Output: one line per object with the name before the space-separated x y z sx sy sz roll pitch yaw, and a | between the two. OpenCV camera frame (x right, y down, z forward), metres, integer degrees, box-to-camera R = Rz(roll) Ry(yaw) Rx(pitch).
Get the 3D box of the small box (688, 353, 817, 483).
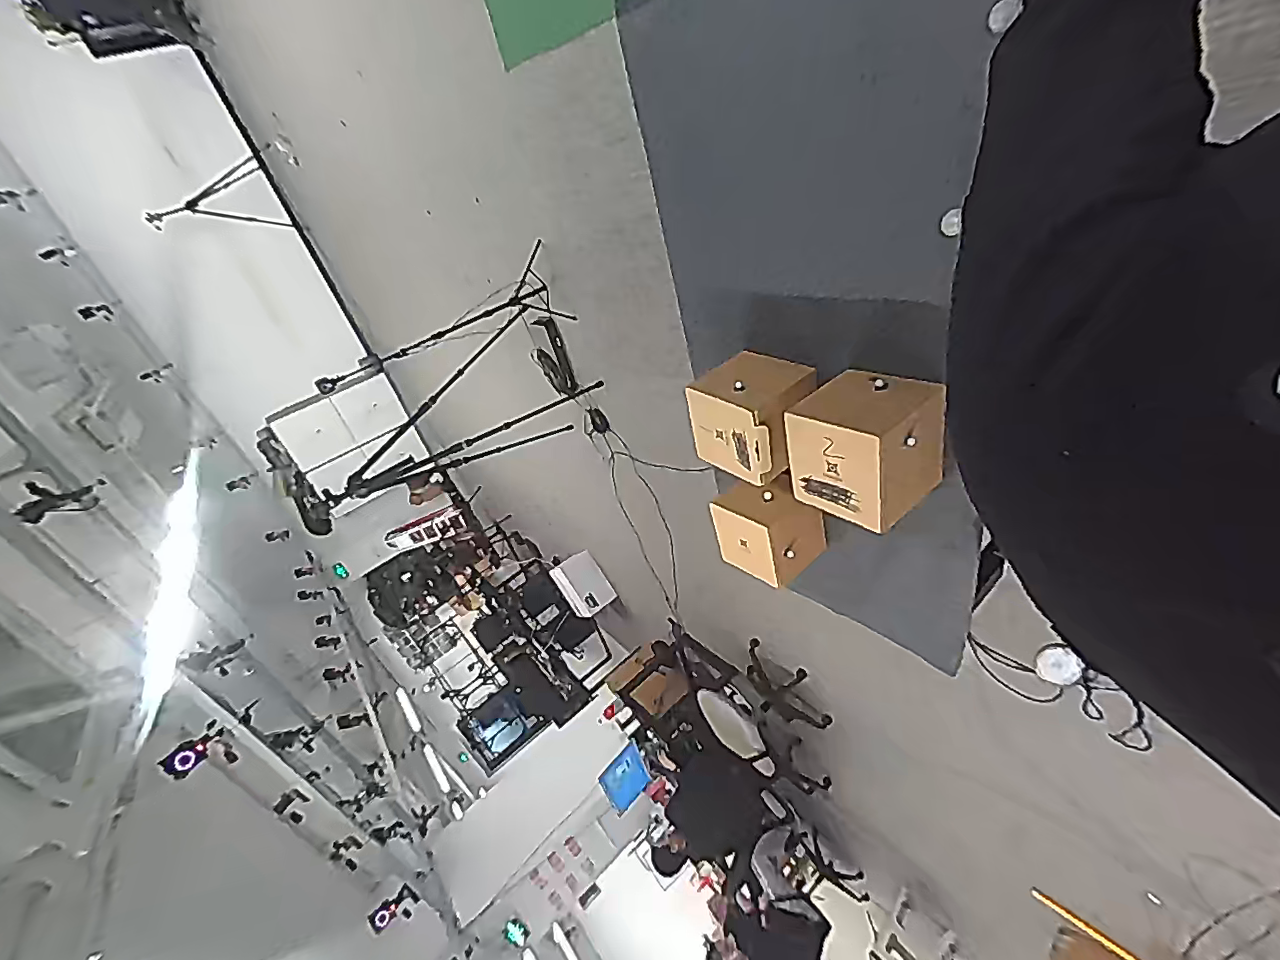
small box | 0.222 -0.126 1.038 0.179 0.176 0.168 31 145 45
